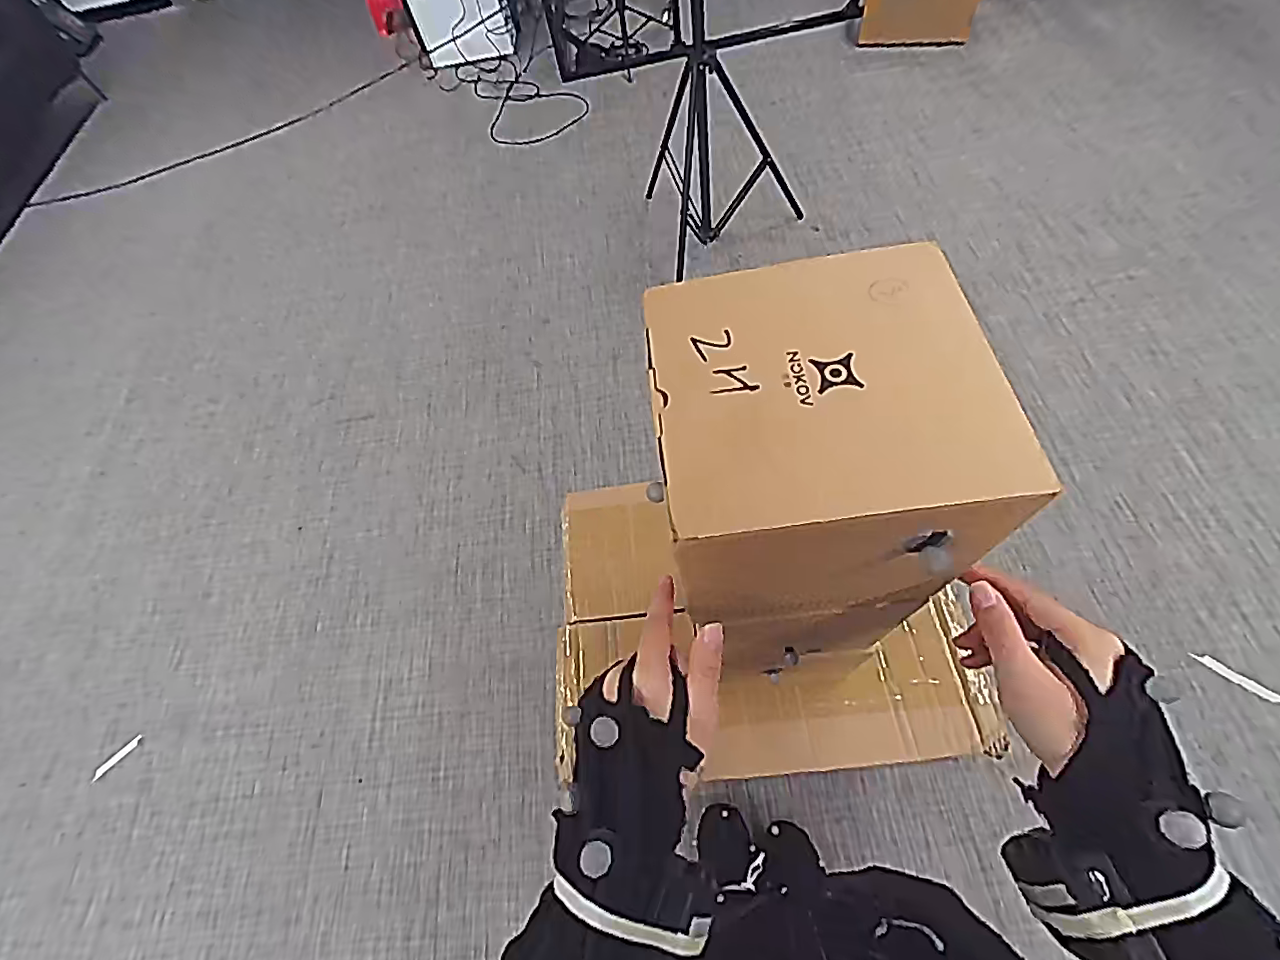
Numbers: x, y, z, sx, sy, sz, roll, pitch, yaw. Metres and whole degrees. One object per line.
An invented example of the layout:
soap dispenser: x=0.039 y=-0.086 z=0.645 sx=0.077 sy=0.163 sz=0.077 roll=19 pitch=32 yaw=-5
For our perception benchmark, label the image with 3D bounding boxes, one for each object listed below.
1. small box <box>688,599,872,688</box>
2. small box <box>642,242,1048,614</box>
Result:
small box: x=0.147 y=0.143 z=0.637 sx=0.179 sy=0.176 sz=0.168 roll=-7 pitch=61 yaw=5
small box: x=0.102 y=-0.019 z=0.353 sx=0.179 sy=0.176 sz=0.168 roll=-8 pitch=61 yaw=5
